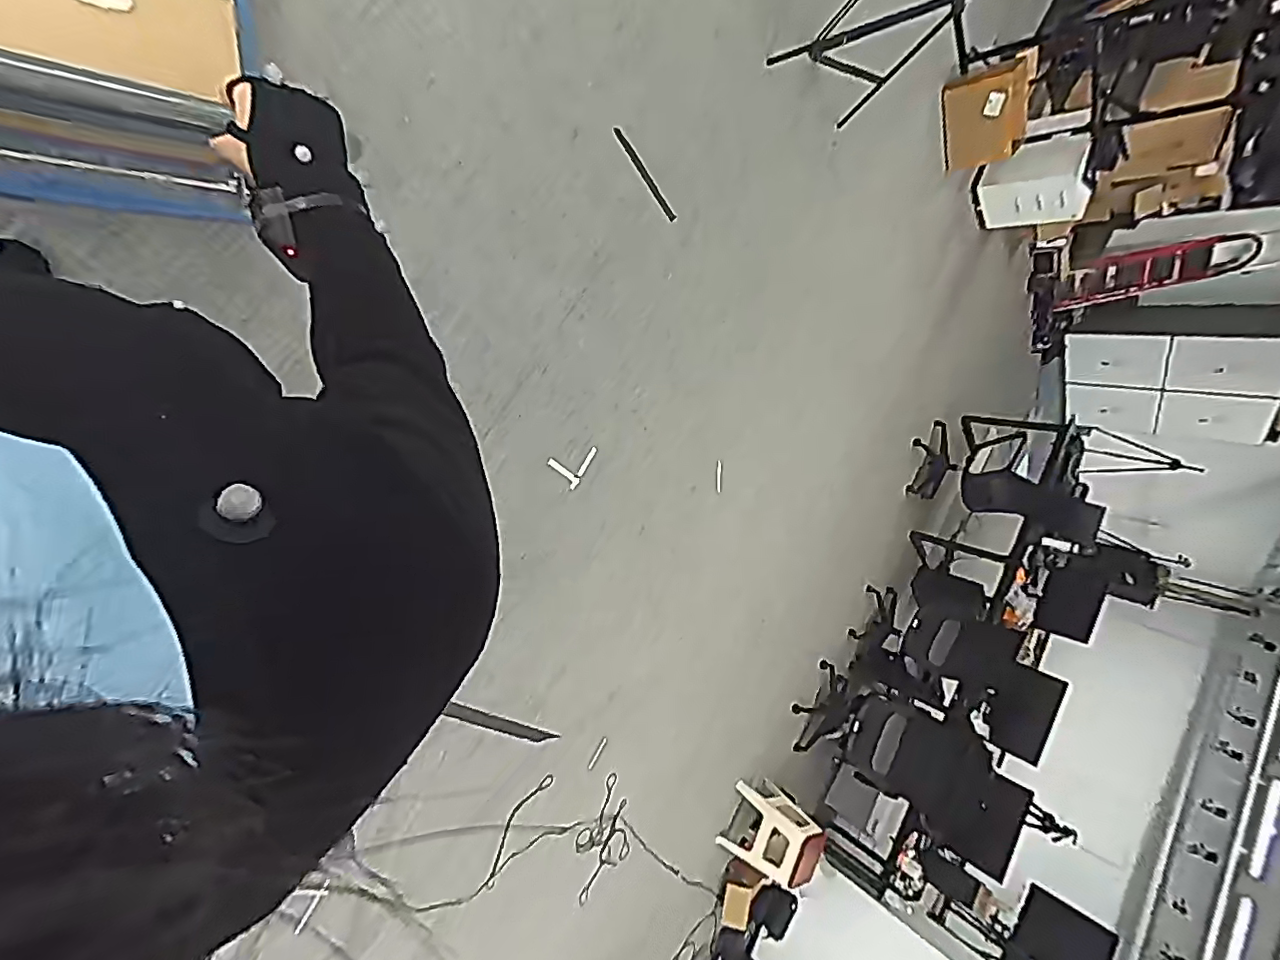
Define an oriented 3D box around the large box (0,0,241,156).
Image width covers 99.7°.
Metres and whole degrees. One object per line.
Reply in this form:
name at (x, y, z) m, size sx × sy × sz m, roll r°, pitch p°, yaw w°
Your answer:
large box at (-0.817, -0.665, 0.705) m, size 0.408 × 0.320 × 0.320 m, roll -13°, pitch 112°, yaw -43°
